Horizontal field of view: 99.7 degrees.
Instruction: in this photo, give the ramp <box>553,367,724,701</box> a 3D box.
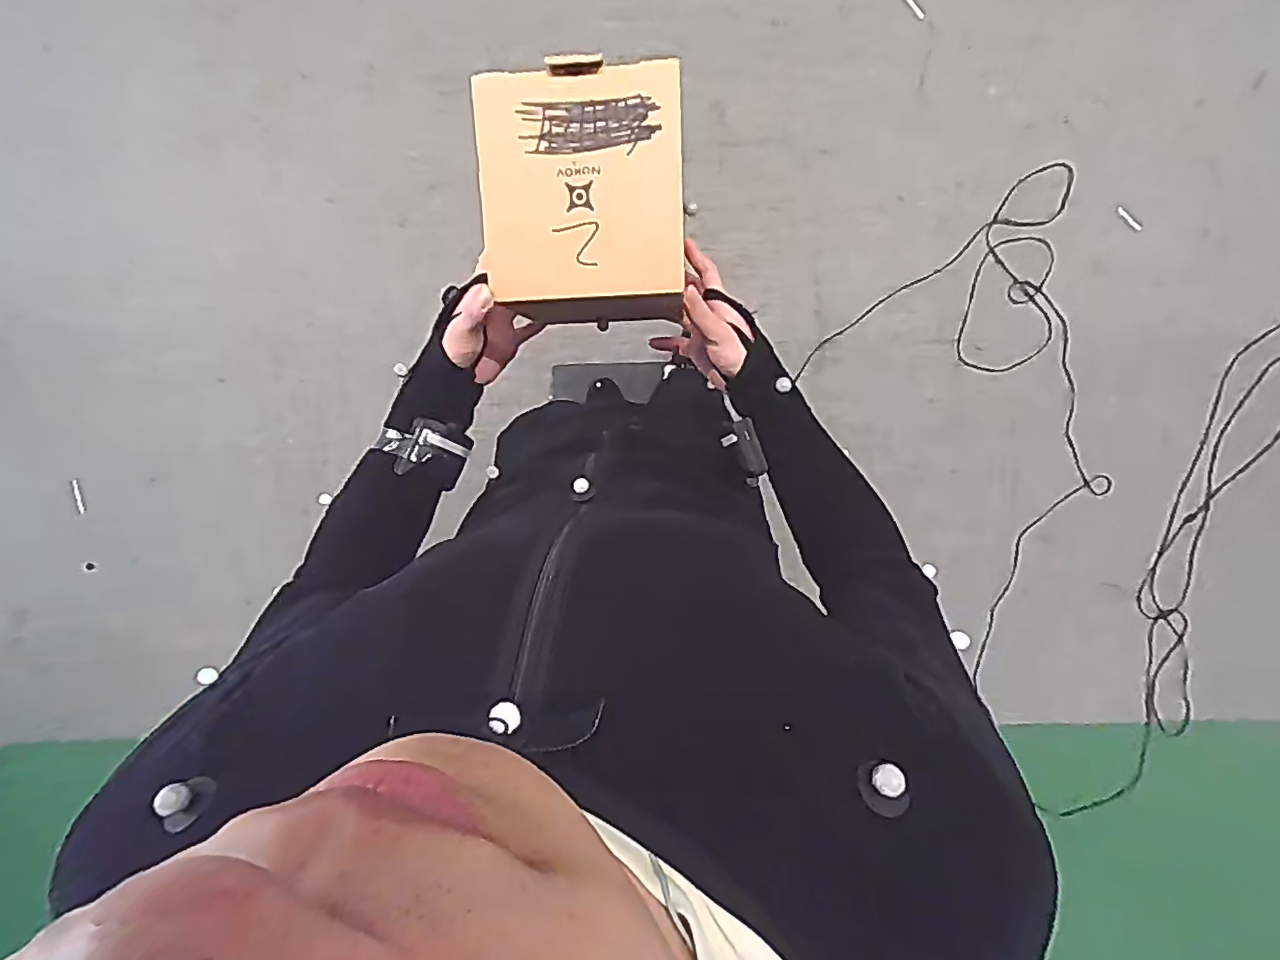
[{"bbox_3d":[-0.003,0.167,1.628,0.509,0.206,0.991,-3,102,1],"label":"ramp"}]
